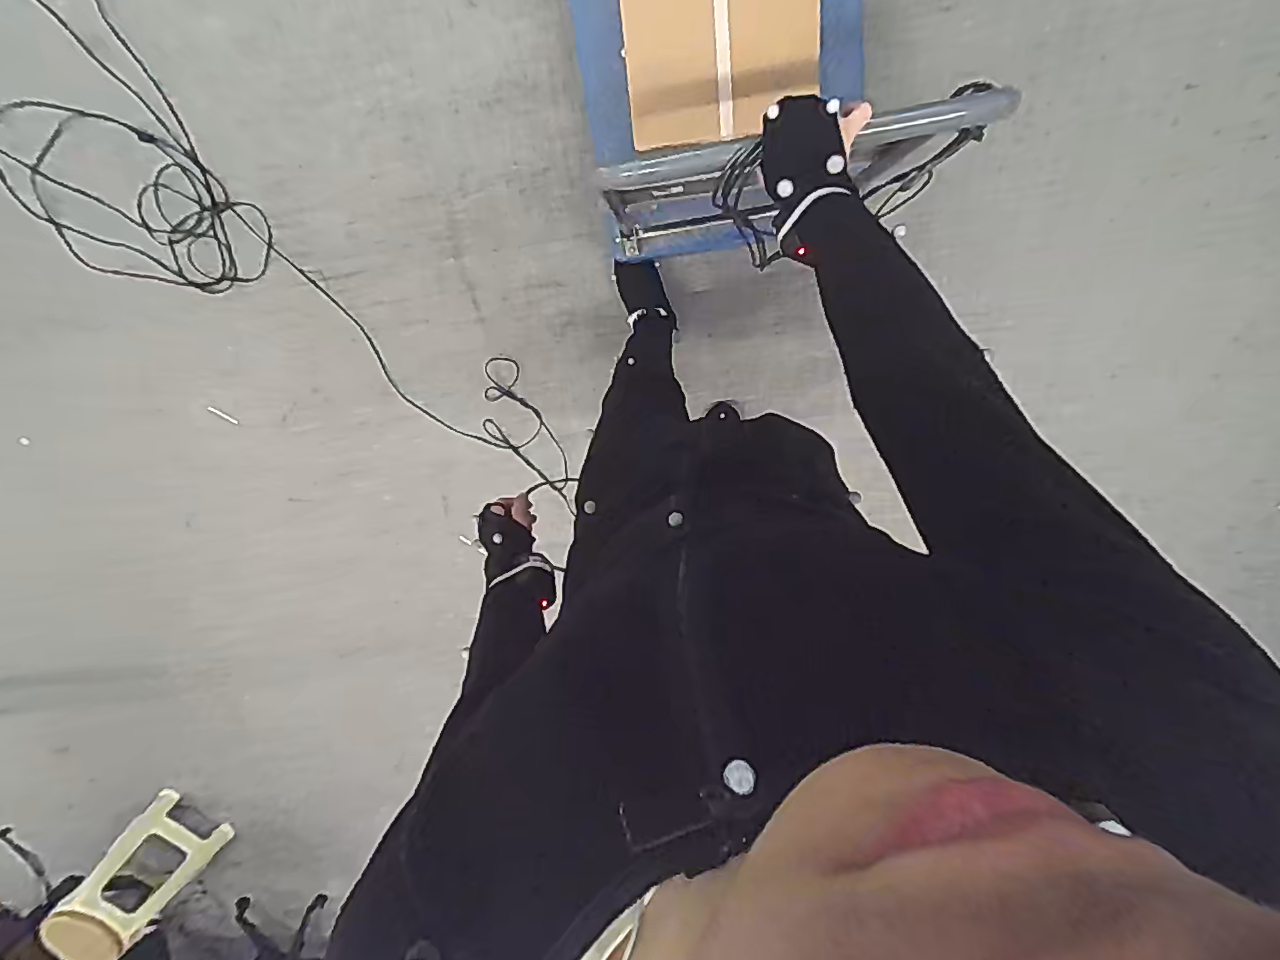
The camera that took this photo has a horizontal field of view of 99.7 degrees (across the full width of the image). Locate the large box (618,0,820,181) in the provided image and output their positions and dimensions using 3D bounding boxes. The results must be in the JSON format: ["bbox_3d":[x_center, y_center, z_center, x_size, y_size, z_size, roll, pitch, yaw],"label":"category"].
[{"bbox_3d":[0.131,-0.812,0.978,0.320,0.320,0.408,-4,109,6],"label":"large box"}]
